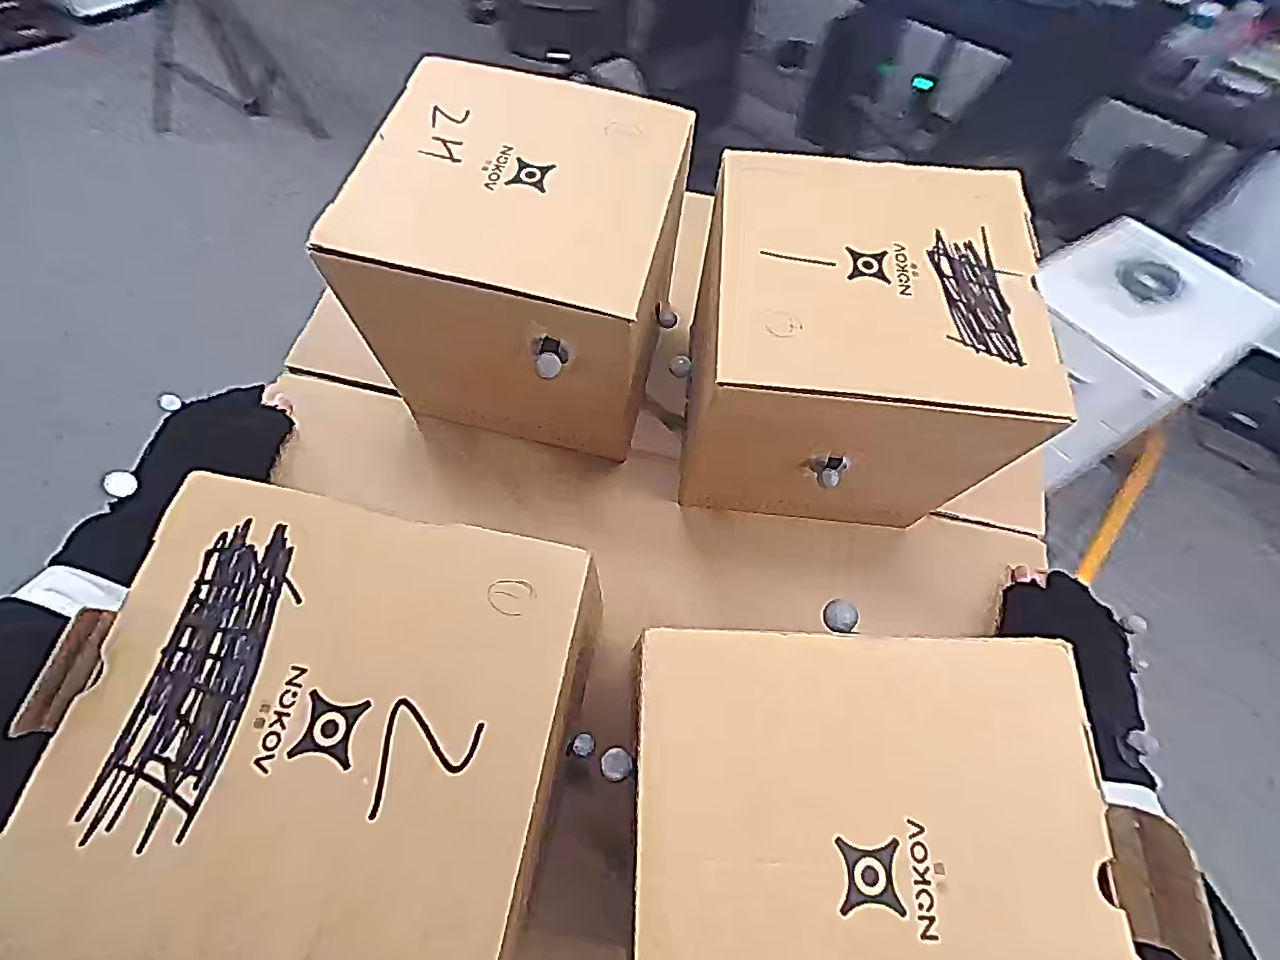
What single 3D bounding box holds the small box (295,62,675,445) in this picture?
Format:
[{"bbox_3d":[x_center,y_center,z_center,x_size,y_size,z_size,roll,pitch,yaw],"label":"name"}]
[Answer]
[{"bbox_3d":[-0.084,-0.142,0.384,0.179,0.176,0.168,13,67,2],"label":"small box"}]
